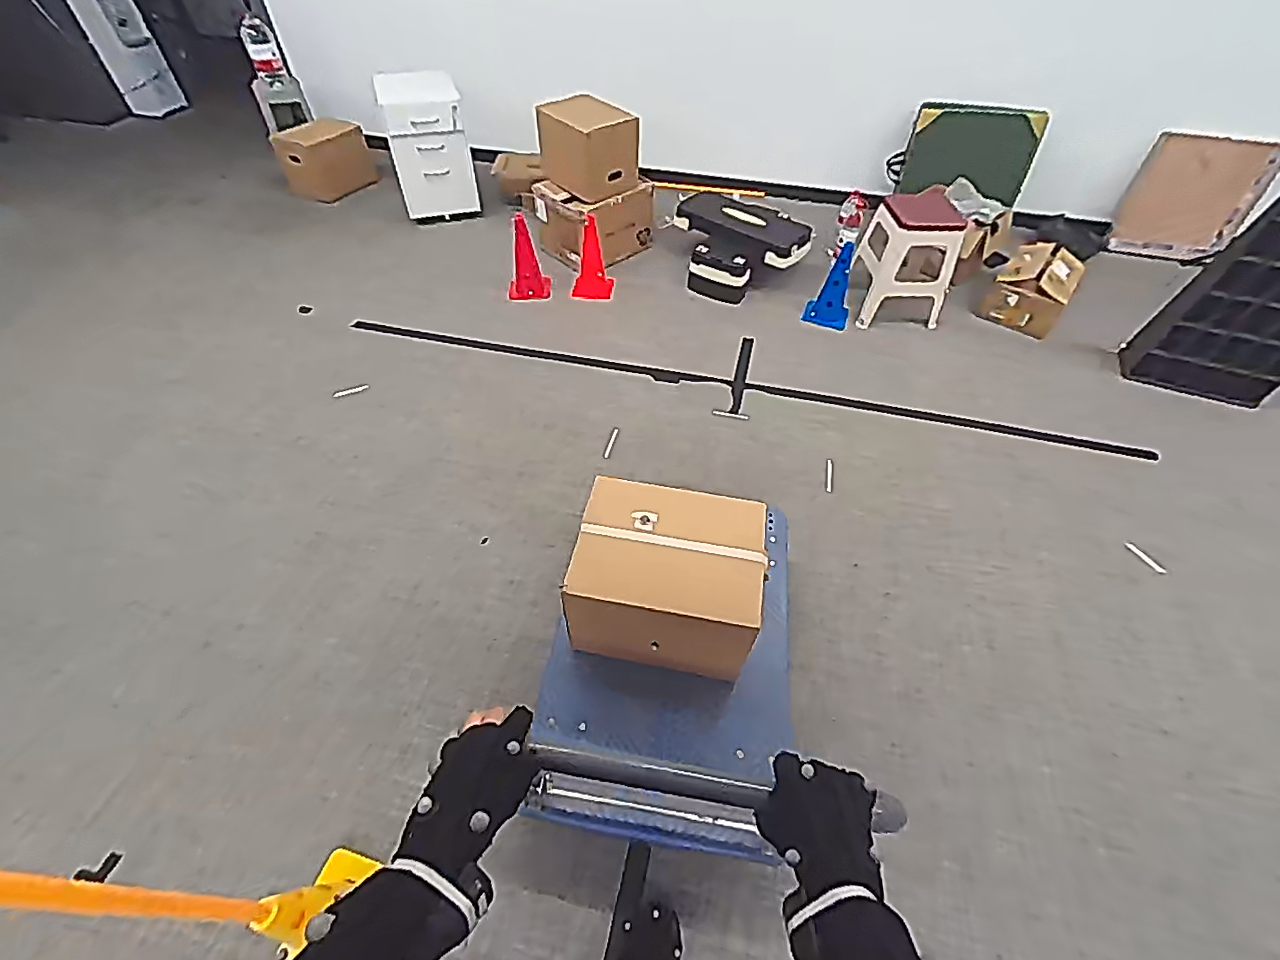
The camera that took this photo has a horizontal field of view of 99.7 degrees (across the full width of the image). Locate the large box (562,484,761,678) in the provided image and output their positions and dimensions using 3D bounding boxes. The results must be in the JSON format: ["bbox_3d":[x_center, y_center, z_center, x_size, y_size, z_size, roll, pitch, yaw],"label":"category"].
[{"bbox_3d":[0.061,0.245,1.293,0.408,0.320,0.320,9,51,7],"label":"large box"}]
